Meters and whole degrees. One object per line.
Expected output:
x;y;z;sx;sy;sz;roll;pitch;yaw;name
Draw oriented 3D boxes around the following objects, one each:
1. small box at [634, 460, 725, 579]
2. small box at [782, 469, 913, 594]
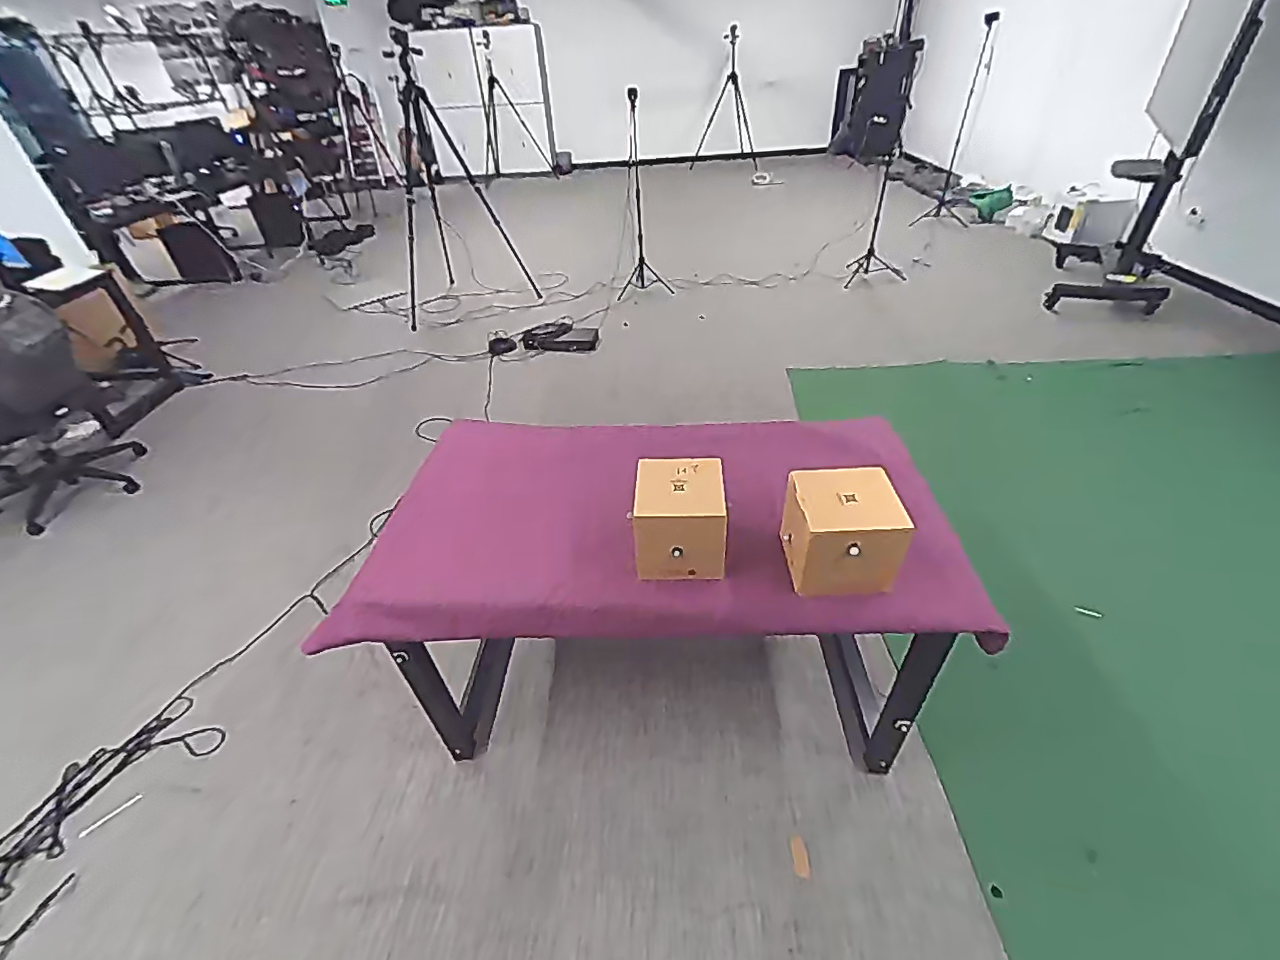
0.081;0.078;1.065;0.168;0.176;0.179;0;38;5;small box
0.376;0.098;1.013;0.179;0.176;0.168;-3;40;3;small box
